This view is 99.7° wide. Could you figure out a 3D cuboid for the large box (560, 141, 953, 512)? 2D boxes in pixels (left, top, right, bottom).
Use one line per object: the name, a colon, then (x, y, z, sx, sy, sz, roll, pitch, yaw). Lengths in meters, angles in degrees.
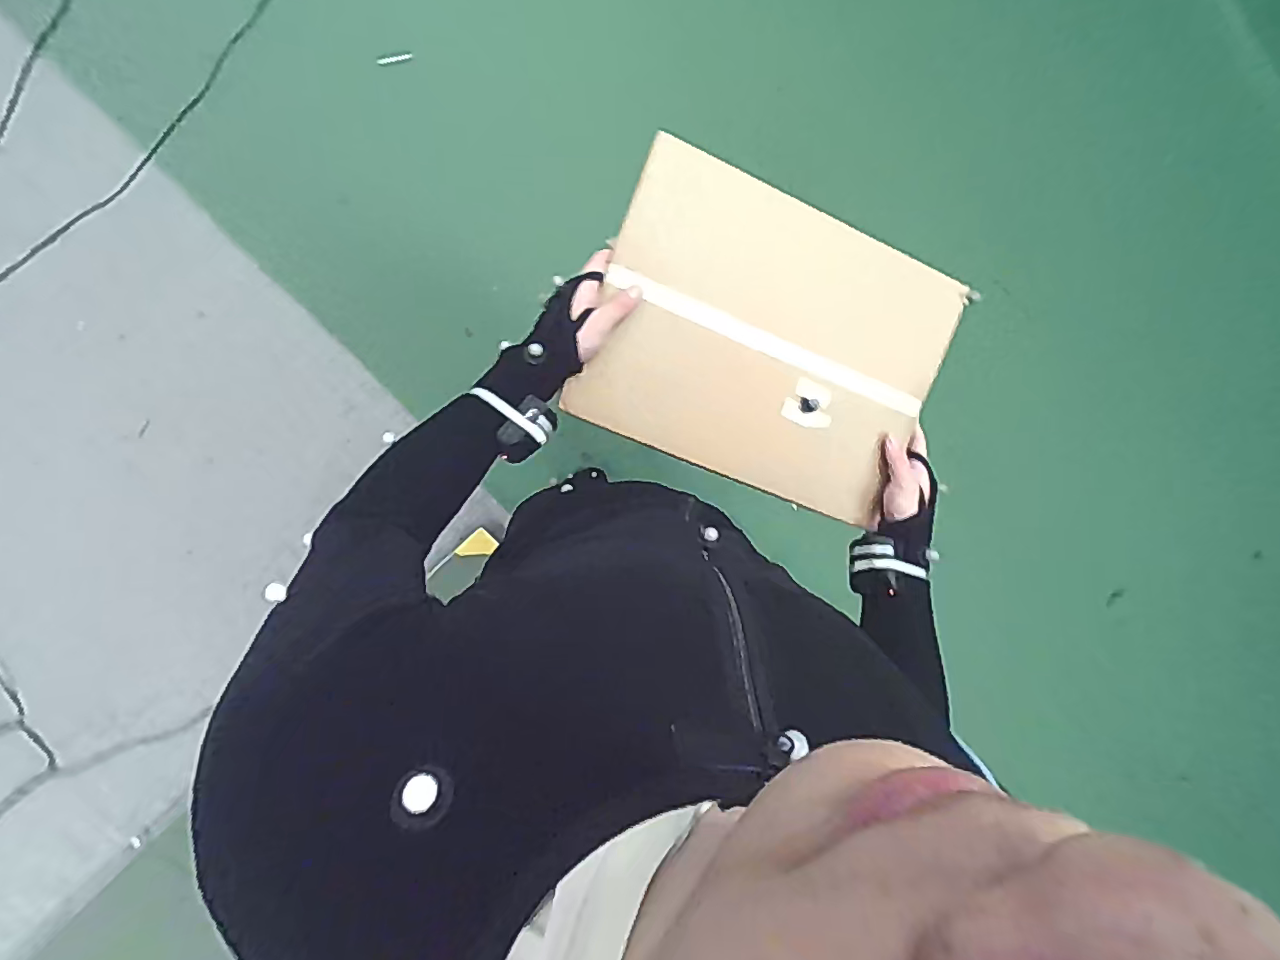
large box: (0.123, -0.182, 0.773, 0.408, 0.320, 0.320, 20, 95, -11)
